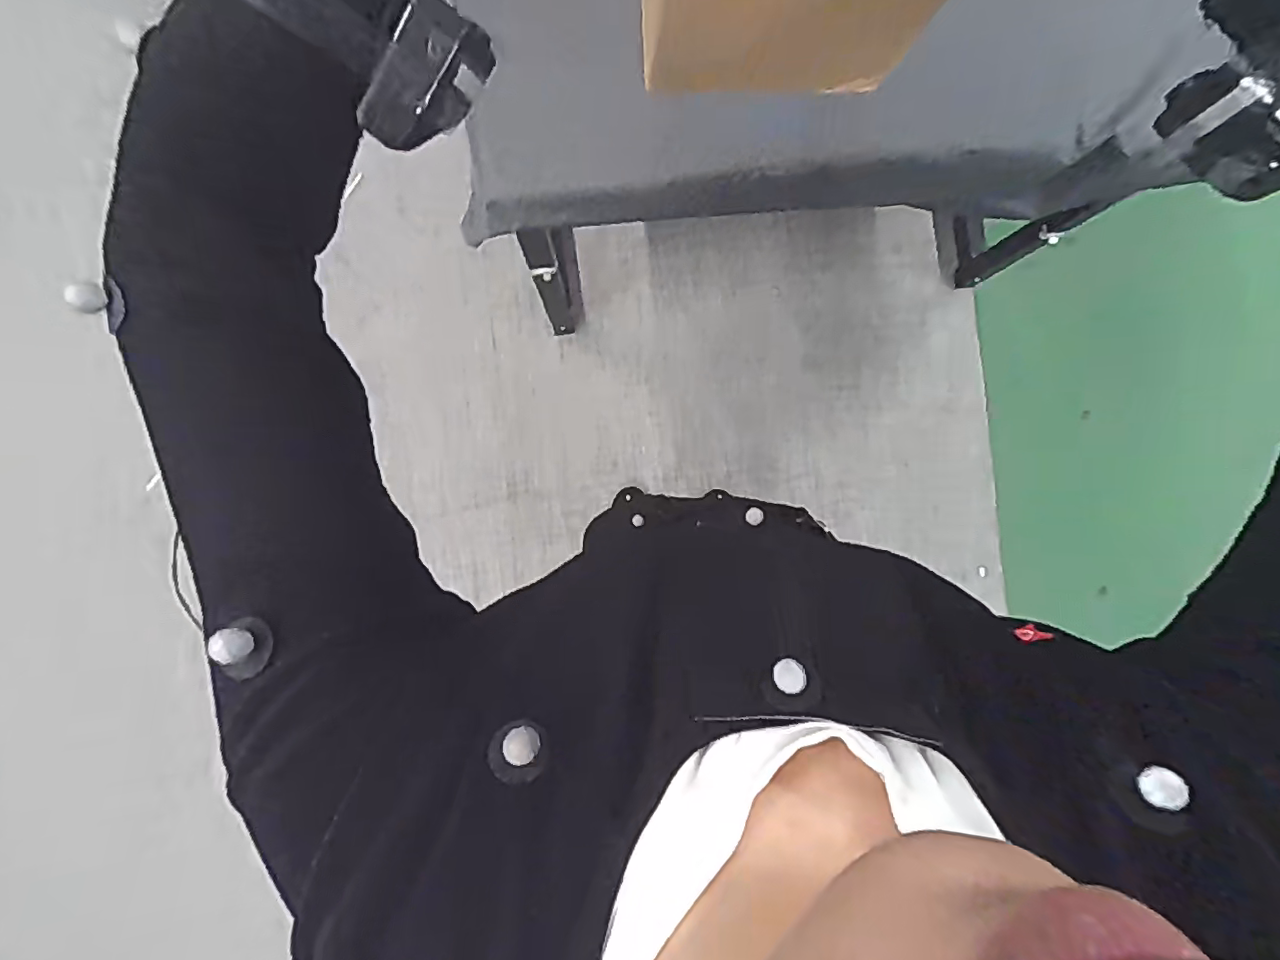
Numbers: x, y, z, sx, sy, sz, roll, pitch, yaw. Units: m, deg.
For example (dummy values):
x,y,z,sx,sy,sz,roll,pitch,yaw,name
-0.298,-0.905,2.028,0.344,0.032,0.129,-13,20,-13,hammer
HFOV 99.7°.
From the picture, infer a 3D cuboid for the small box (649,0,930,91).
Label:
x,y,z,sx,sy,sz,roll,pitch,yaw,name
0.096,-0.366,0.320,0.179,0.176,0.168,-2,96,-5,small box
